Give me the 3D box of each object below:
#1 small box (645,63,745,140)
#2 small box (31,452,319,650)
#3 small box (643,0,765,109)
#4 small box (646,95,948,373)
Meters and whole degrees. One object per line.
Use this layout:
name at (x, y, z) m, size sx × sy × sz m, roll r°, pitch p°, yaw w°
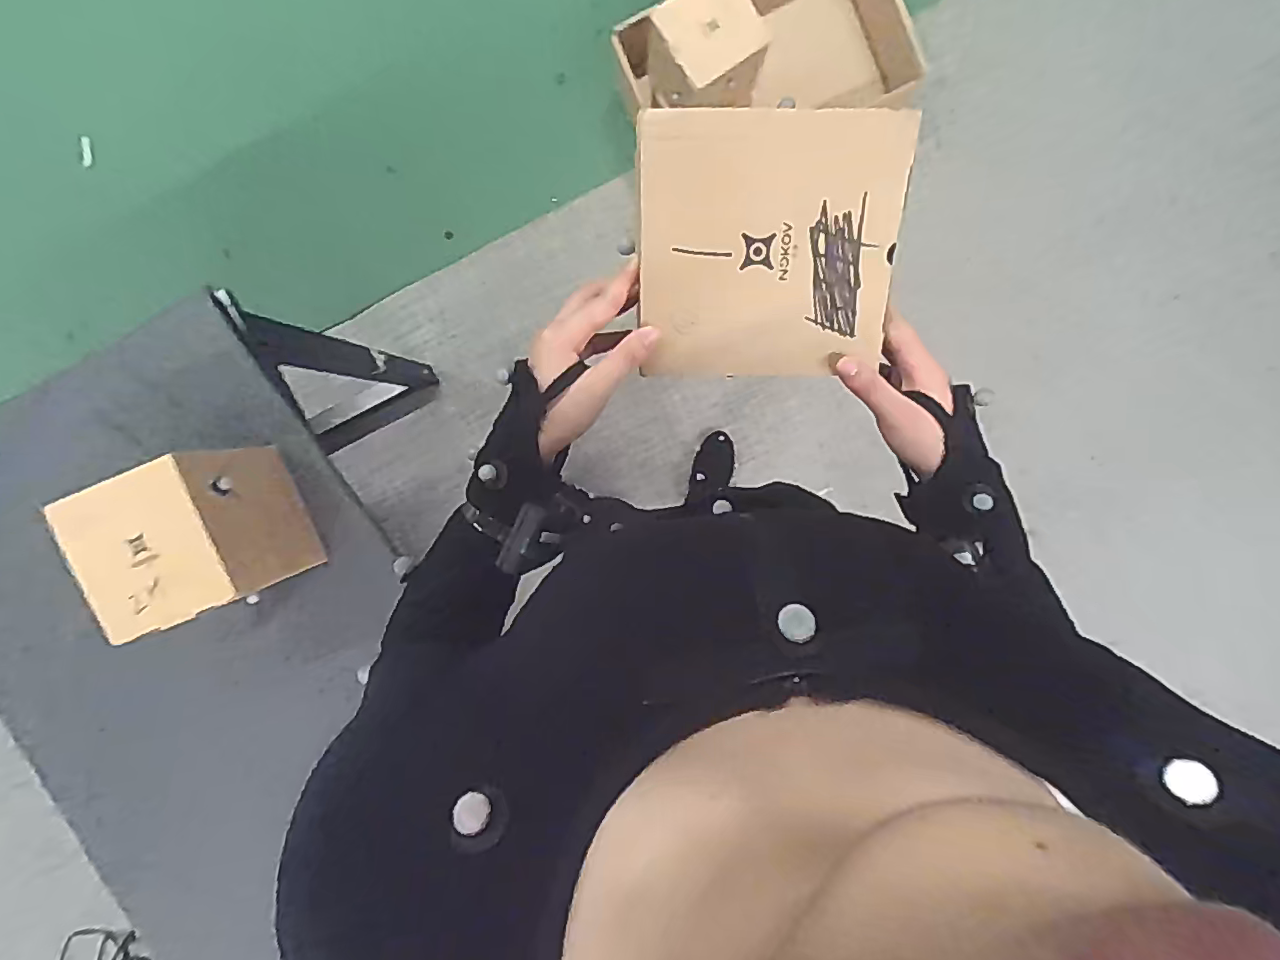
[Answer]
small box at (0.123, -0.885, 1.260) m, size 0.179 × 0.176 × 0.168 m, roll -24°, pitch 96°, yaw 2°
small box at (-0.543, 0.071, 0.660) m, size 0.168 × 0.176 × 0.179 m, roll -21°, pitch 96°, yaw 4°
small box at (0.120, -0.866, 1.097) m, size 0.179 × 0.176 × 0.168 m, roll -34°, pitch 96°, yaw 1°
small box at (0.098, -0.184, 0.429) m, size 0.179 × 0.176 × 0.168 m, roll 0°, pitch 113°, yaw -2°
